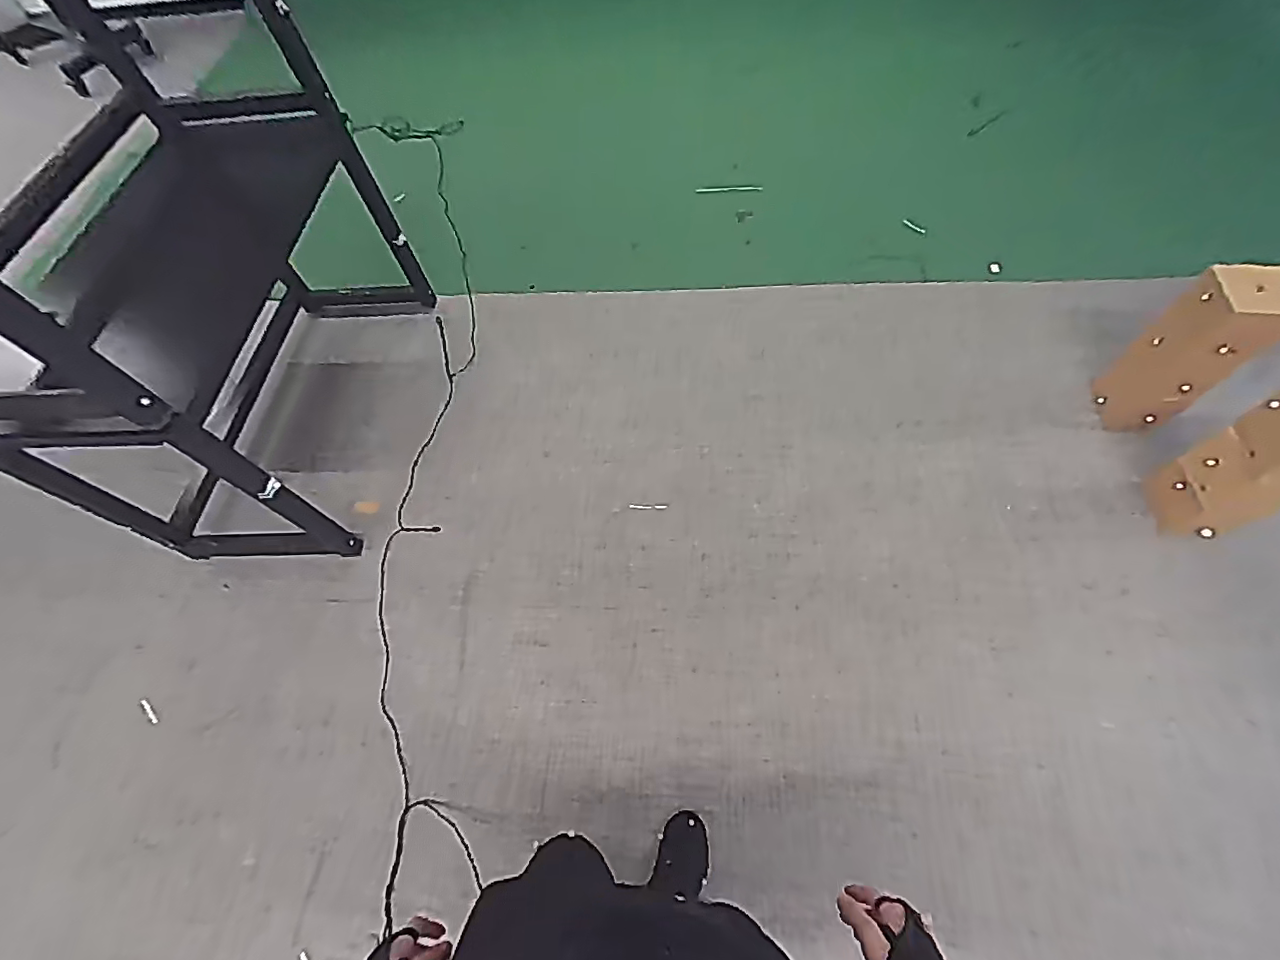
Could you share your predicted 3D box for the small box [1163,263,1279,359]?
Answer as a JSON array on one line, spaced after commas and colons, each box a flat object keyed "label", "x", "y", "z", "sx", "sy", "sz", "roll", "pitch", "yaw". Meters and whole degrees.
[{"label": "small box", "x": 1.554, "y": -0.446, "z": 1.432, "sx": 0.168, "sy": 0.176, "sz": 0.179, "roll": 5, "pitch": 61, "yaw": 9}]

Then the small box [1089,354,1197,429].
[{"label": "small box", "x": 1.579, "y": -0.276, "z": 1.712, "sx": 0.168, "sy": 0.176, "sz": 0.179, "roll": 3, "pitch": 61, "yaw": 7}]

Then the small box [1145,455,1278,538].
[{"label": "small box", "x": 1.593, "y": 0.047, "z": 1.524, "sx": 0.168, "sy": 0.176, "sz": 0.179, "roll": 1, "pitch": 61, "yaw": 7}]

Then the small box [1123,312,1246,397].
[{"label": "small box", "x": 1.567, "y": -0.364, "z": 1.573, "sx": 0.168, "sy": 0.176, "sz": 0.179, "roll": 3, "pitch": 61, "yaw": 8}]

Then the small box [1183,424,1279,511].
[{"label": "small box", "x": 1.563, "y": -0.028, "z": 1.383, "sx": 0.179, "sy": 0.176, "sz": 0.168, "roll": -2, "pitch": 60, "yaw": 4}]
